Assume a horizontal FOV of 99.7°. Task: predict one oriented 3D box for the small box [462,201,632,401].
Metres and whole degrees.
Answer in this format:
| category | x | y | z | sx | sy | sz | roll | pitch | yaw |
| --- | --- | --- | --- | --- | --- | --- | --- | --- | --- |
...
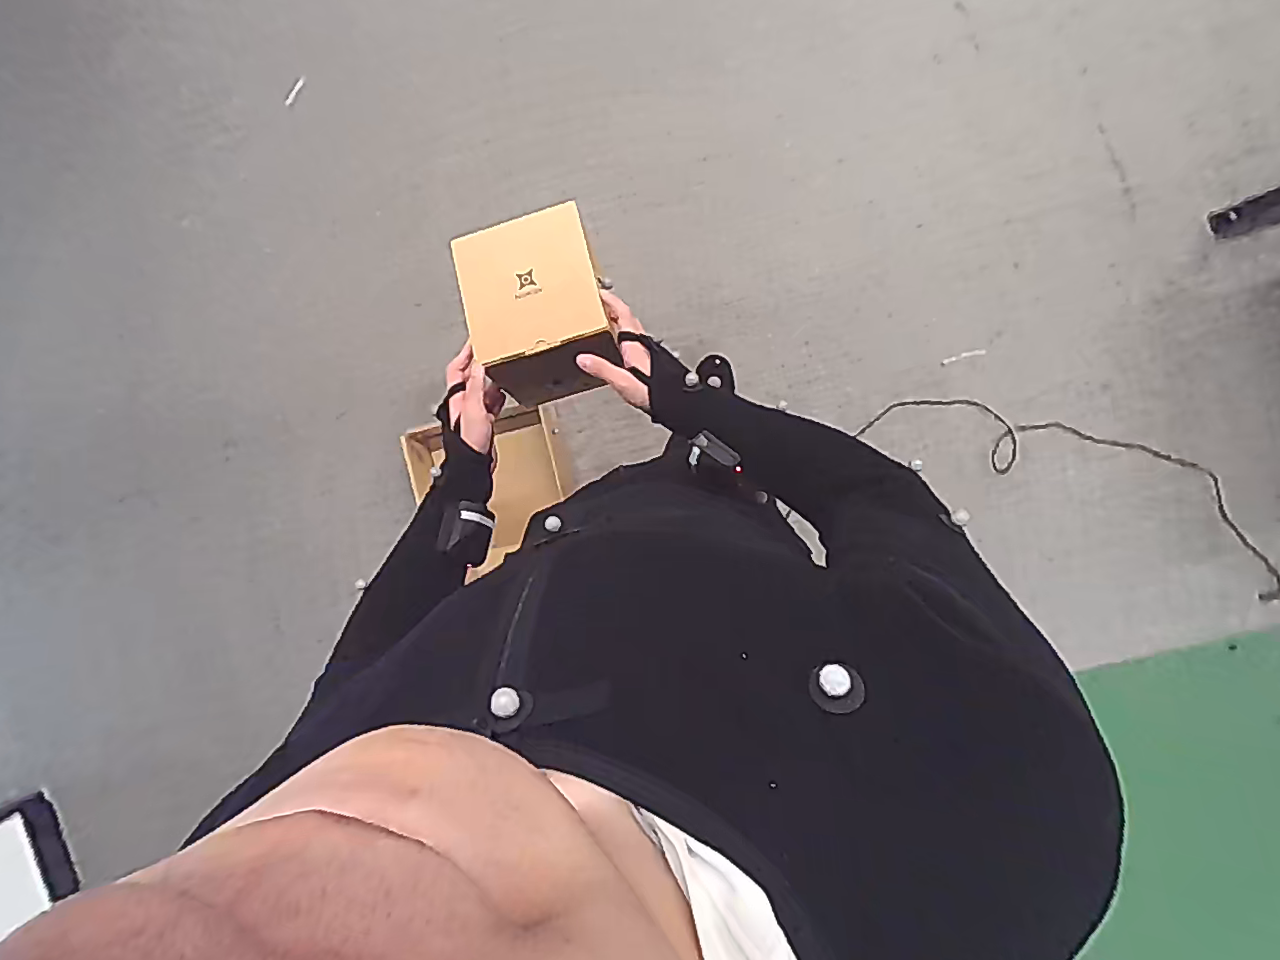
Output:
| category | x | y | z | sx | sy | sz | roll | pitch | yaw |
| --- | --- | --- | --- | --- | --- | --- | --- | --- | --- |
| small box | -0.115 | -0.226 | 0.724 | 0.168 | 0.176 | 0.179 | -15 | 80 | 5 |
